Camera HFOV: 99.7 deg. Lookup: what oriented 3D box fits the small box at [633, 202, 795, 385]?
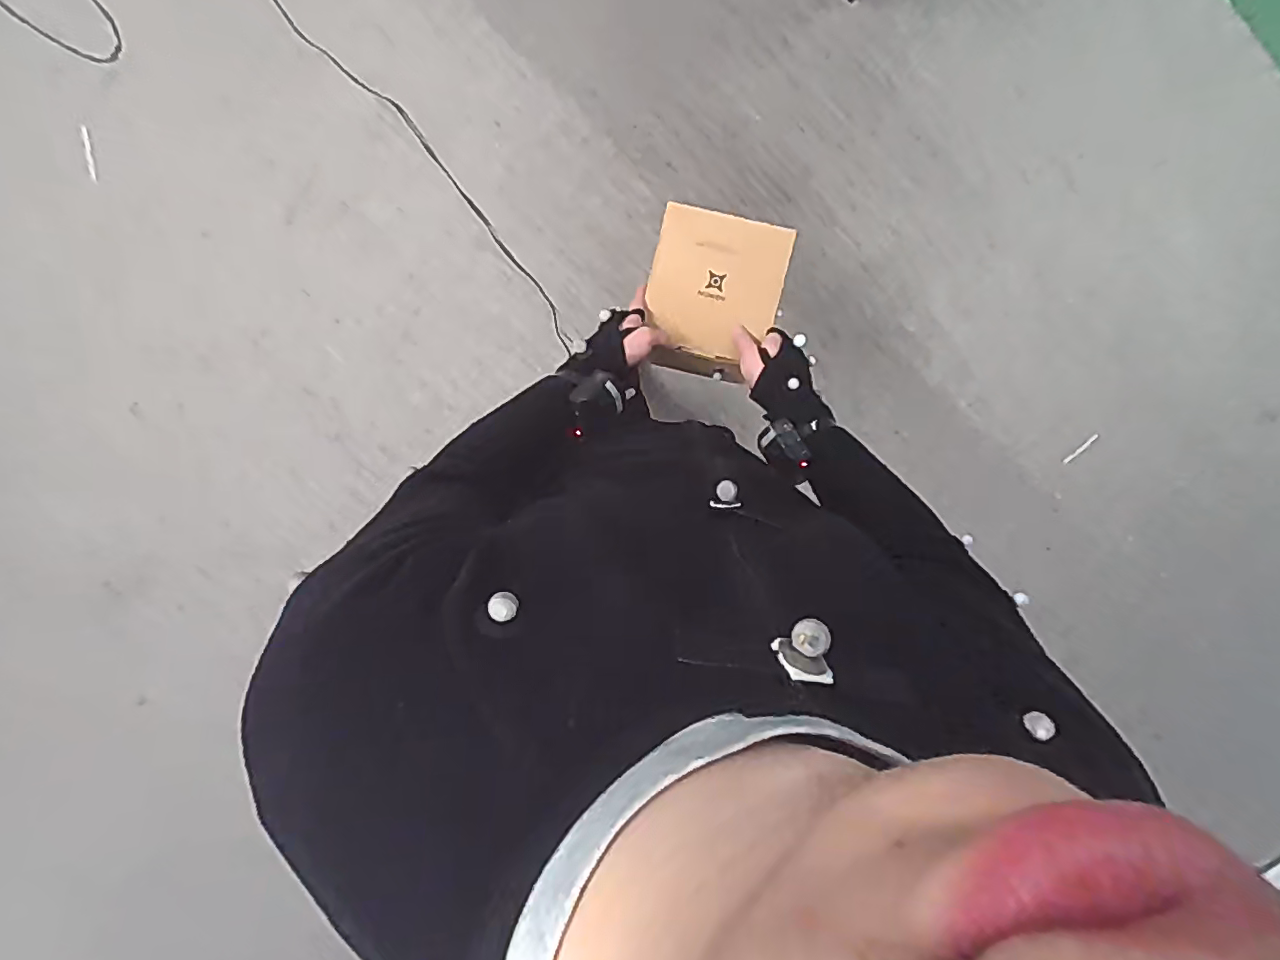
[{"bbox_3d":[0.093,-0.237,0.736,0.168,0.176,0.179,13,92,1],"label":"small box"}]
